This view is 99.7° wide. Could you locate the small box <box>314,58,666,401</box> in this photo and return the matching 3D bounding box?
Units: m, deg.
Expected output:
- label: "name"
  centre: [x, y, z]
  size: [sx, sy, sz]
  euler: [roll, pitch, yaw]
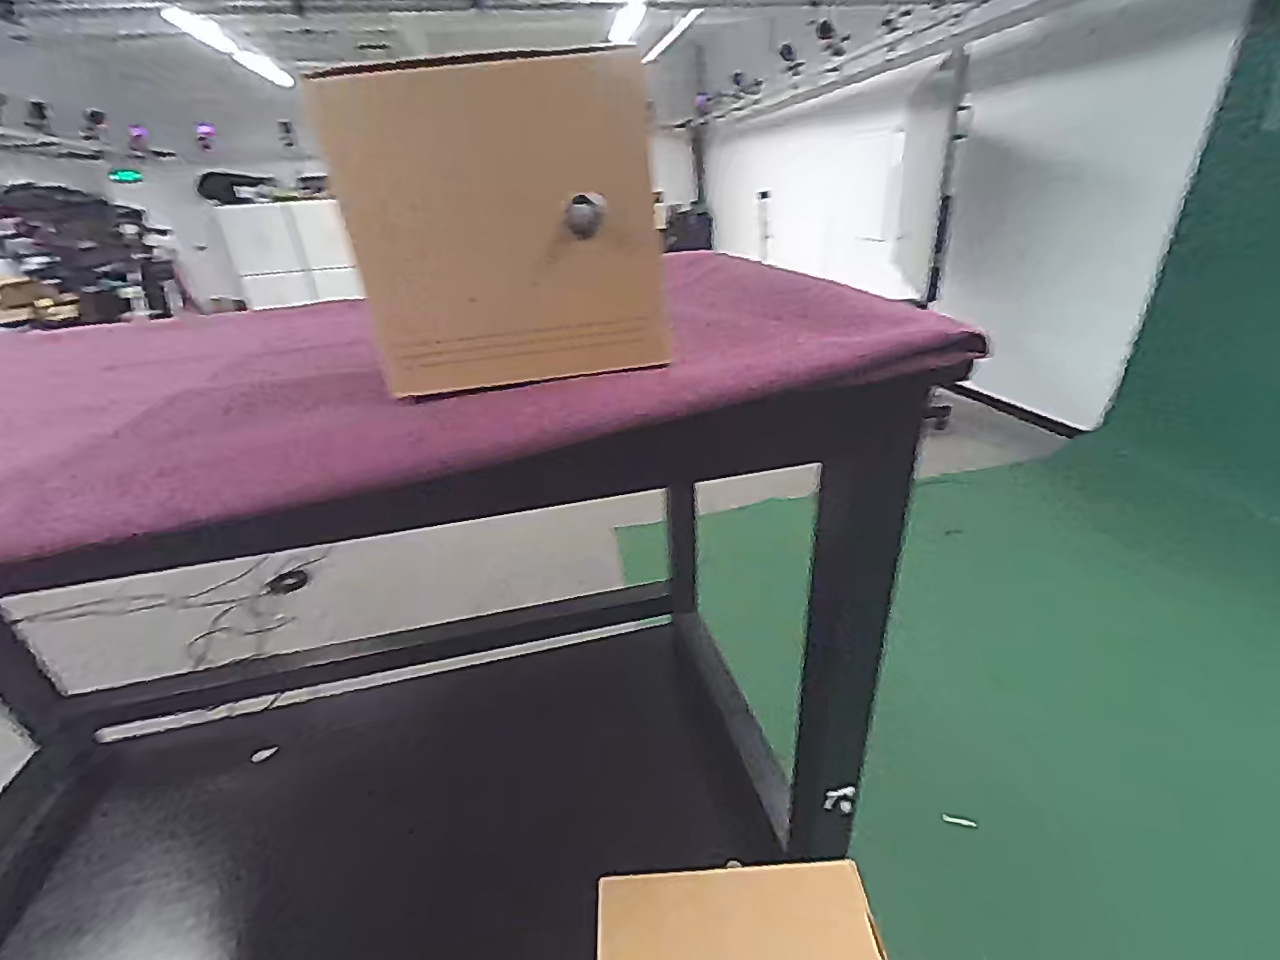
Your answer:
- label: "small box"
  centre: [-0.080, -0.165, 0.380]
  size: [0.179, 0.176, 0.168]
  euler: [-9, 24, -4]
